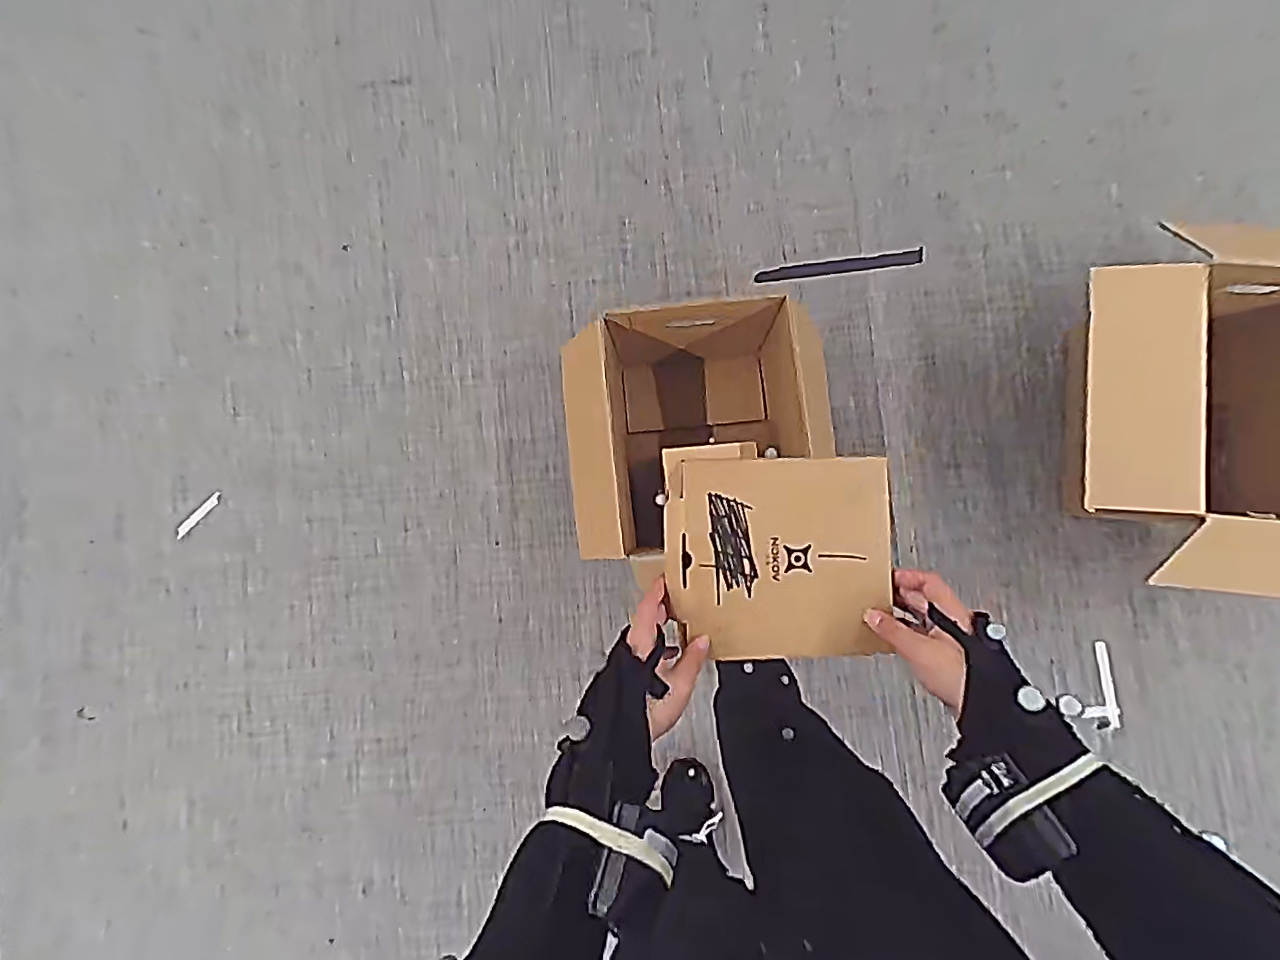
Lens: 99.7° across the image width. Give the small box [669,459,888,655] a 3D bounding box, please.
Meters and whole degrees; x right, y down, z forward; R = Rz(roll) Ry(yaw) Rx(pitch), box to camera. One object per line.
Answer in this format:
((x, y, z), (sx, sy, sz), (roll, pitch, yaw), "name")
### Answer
((0.119, 0.068, 0.534), (0.179, 0.176, 0.168), (-1, 88, -2), "small box")
